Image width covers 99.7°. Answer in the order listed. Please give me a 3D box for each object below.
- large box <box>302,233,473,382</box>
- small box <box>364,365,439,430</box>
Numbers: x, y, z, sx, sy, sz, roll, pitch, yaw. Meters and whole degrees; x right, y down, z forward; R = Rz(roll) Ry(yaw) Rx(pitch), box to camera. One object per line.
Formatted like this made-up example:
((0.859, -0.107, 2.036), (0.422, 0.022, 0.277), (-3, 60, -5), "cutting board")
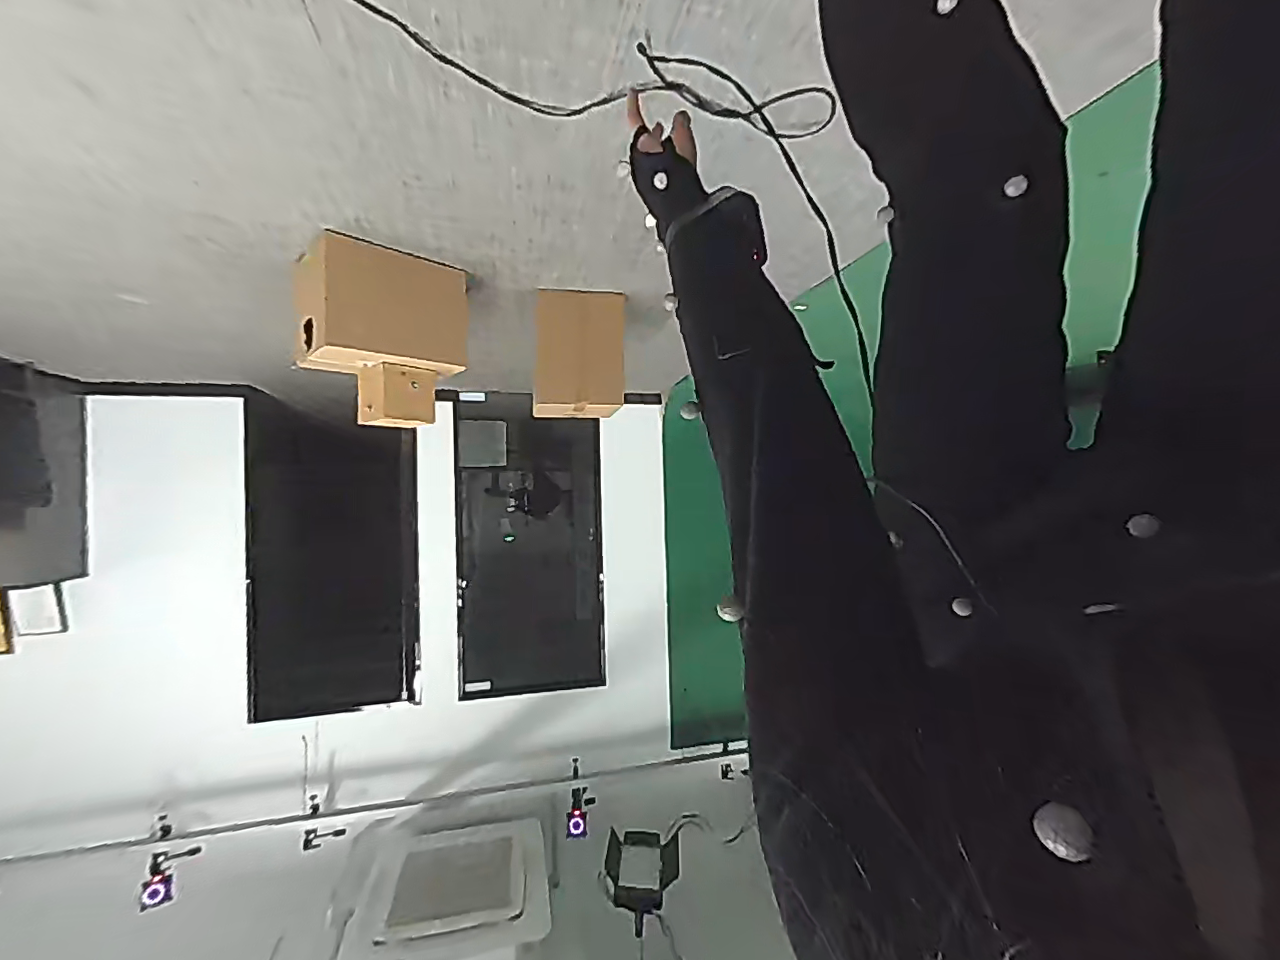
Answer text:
((-0.769, -0.498, 1.662), (0.408, 0.320, 0.320), (3, 176, -44), "large box")
((-0.743, -0.254, 1.691), (0.179, 0.176, 0.168), (-1, 178, 41), "small box")
